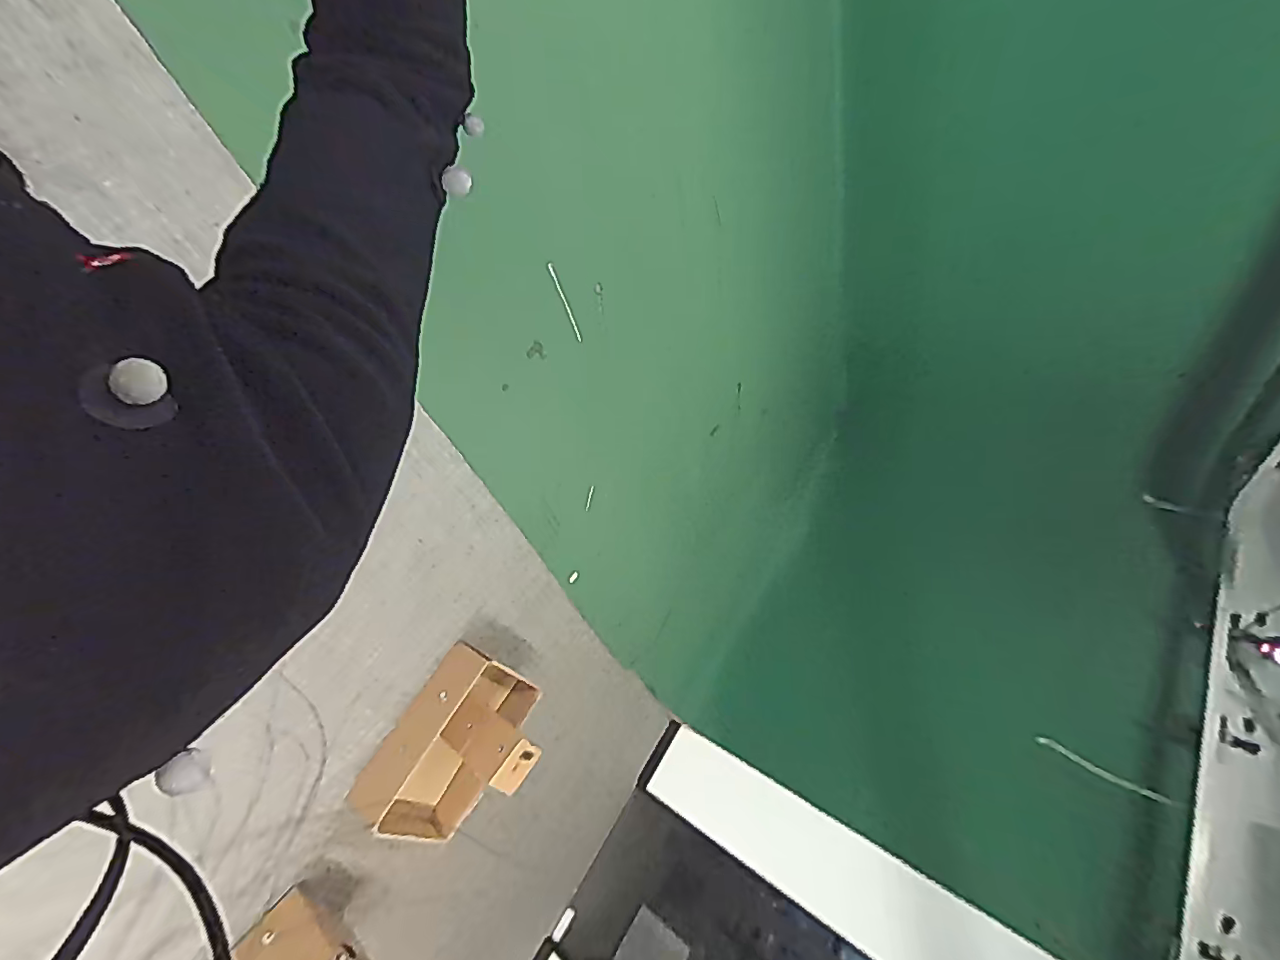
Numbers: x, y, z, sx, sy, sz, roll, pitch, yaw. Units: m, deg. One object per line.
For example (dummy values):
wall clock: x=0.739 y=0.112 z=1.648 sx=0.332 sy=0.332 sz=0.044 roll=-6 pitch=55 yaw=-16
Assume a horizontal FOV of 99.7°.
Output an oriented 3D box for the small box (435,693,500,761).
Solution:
small box: x=-0.617 y=0.925 z=1.997 sx=0.179 sy=0.176 sz=0.168 roll=-50 pitch=140 yaw=-24

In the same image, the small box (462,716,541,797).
small box: x=-0.488 y=0.968 z=1.905 sx=0.179 sy=0.176 sz=0.168 roll=-51 pitch=140 yaw=-24
